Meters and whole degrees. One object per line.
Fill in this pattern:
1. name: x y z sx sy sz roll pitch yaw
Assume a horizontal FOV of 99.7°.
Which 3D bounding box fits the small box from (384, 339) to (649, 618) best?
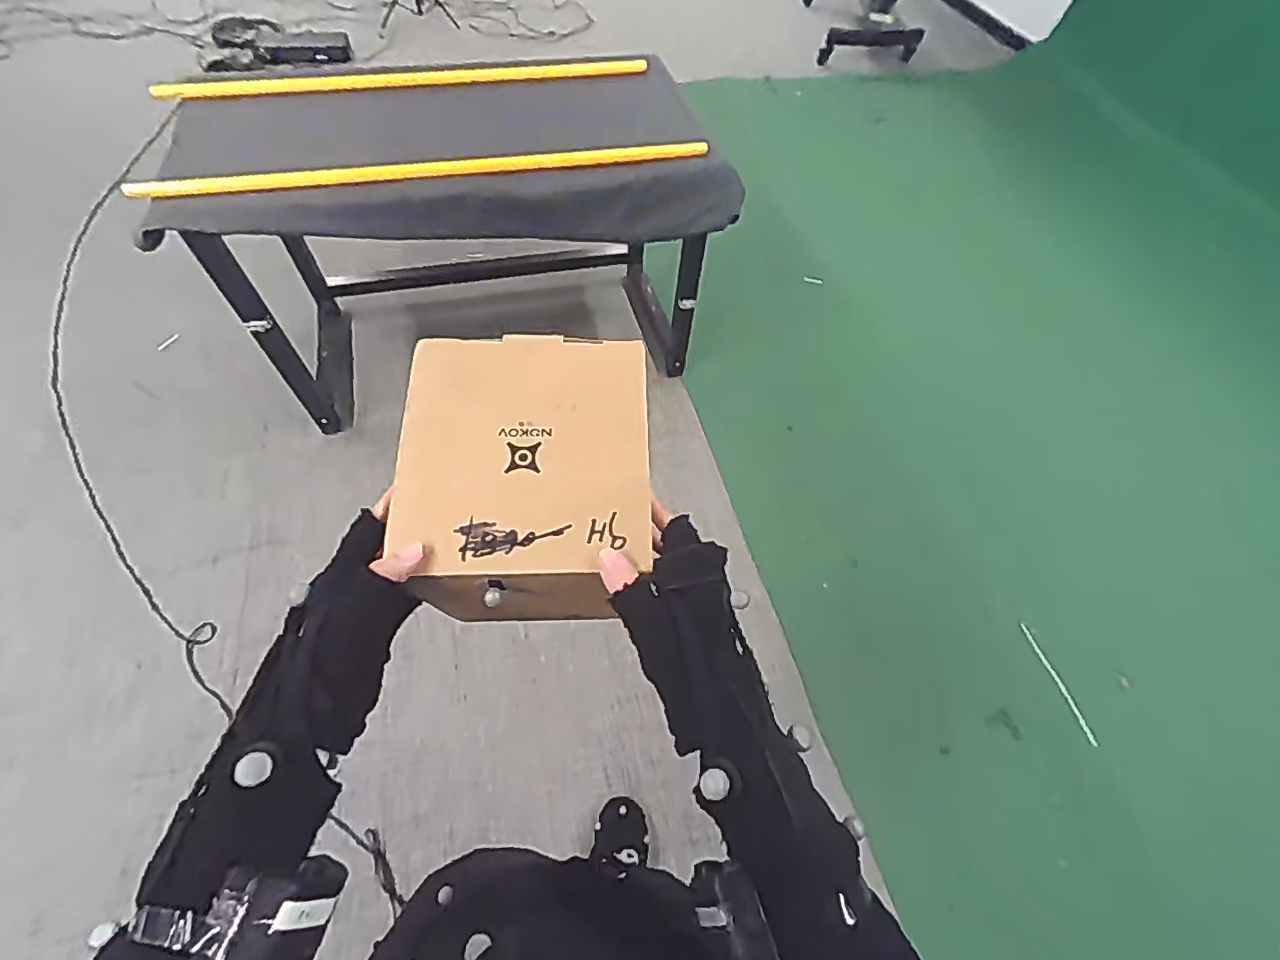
1. small box: -0.081 0.007 0.441 0.168 0.176 0.179 -1 65 -2
